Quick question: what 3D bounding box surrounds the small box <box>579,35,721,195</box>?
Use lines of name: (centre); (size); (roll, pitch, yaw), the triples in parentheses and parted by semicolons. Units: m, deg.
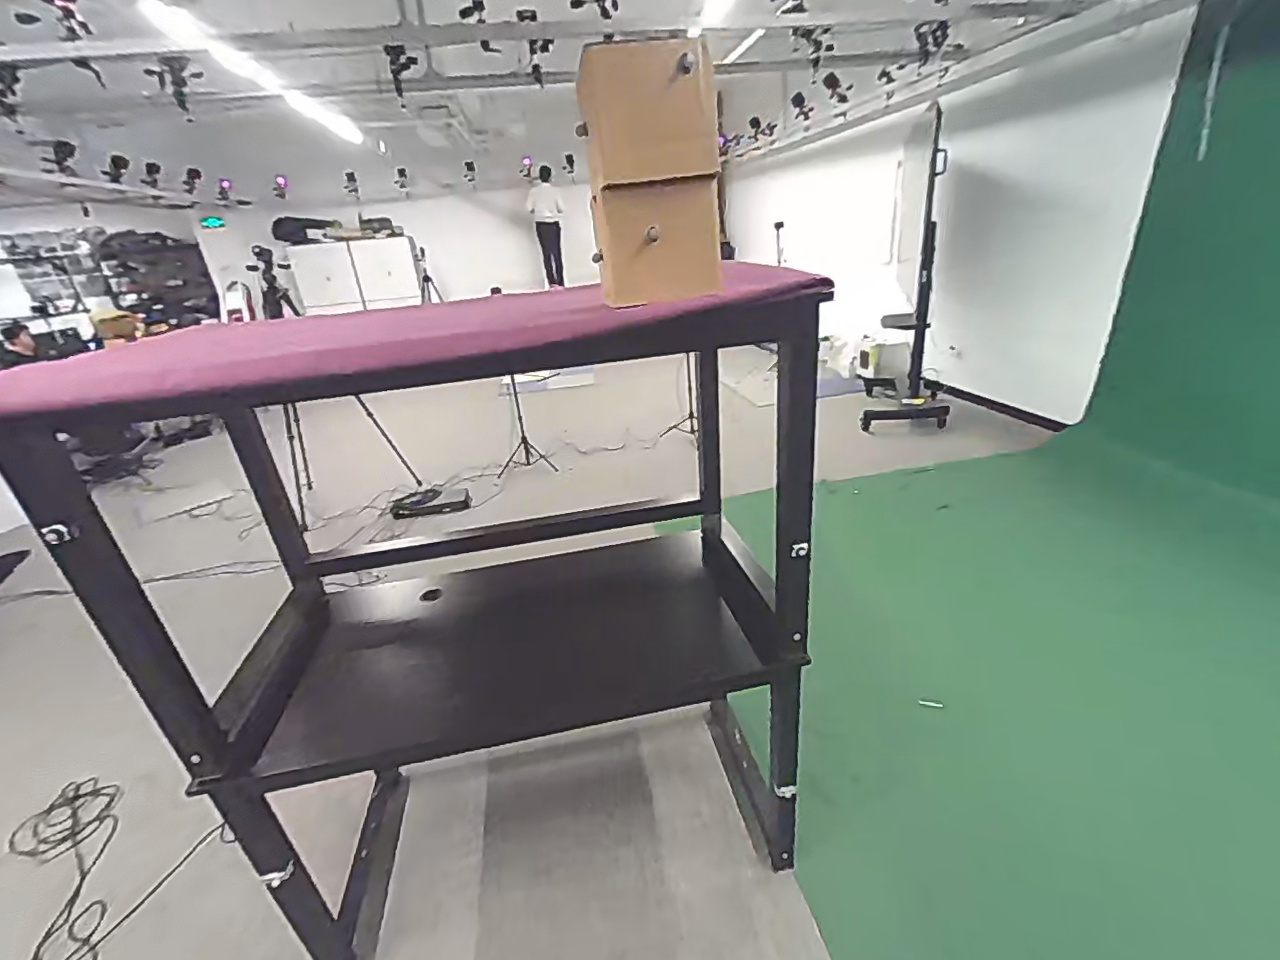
small box: (0.012, -0.524, 0.809); (0.179, 0.176, 0.168); (-9, 22, -7)

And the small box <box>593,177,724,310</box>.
small box: (0.028, -0.378, 0.882); (0.179, 0.176, 0.168); (-10, 23, -6)
